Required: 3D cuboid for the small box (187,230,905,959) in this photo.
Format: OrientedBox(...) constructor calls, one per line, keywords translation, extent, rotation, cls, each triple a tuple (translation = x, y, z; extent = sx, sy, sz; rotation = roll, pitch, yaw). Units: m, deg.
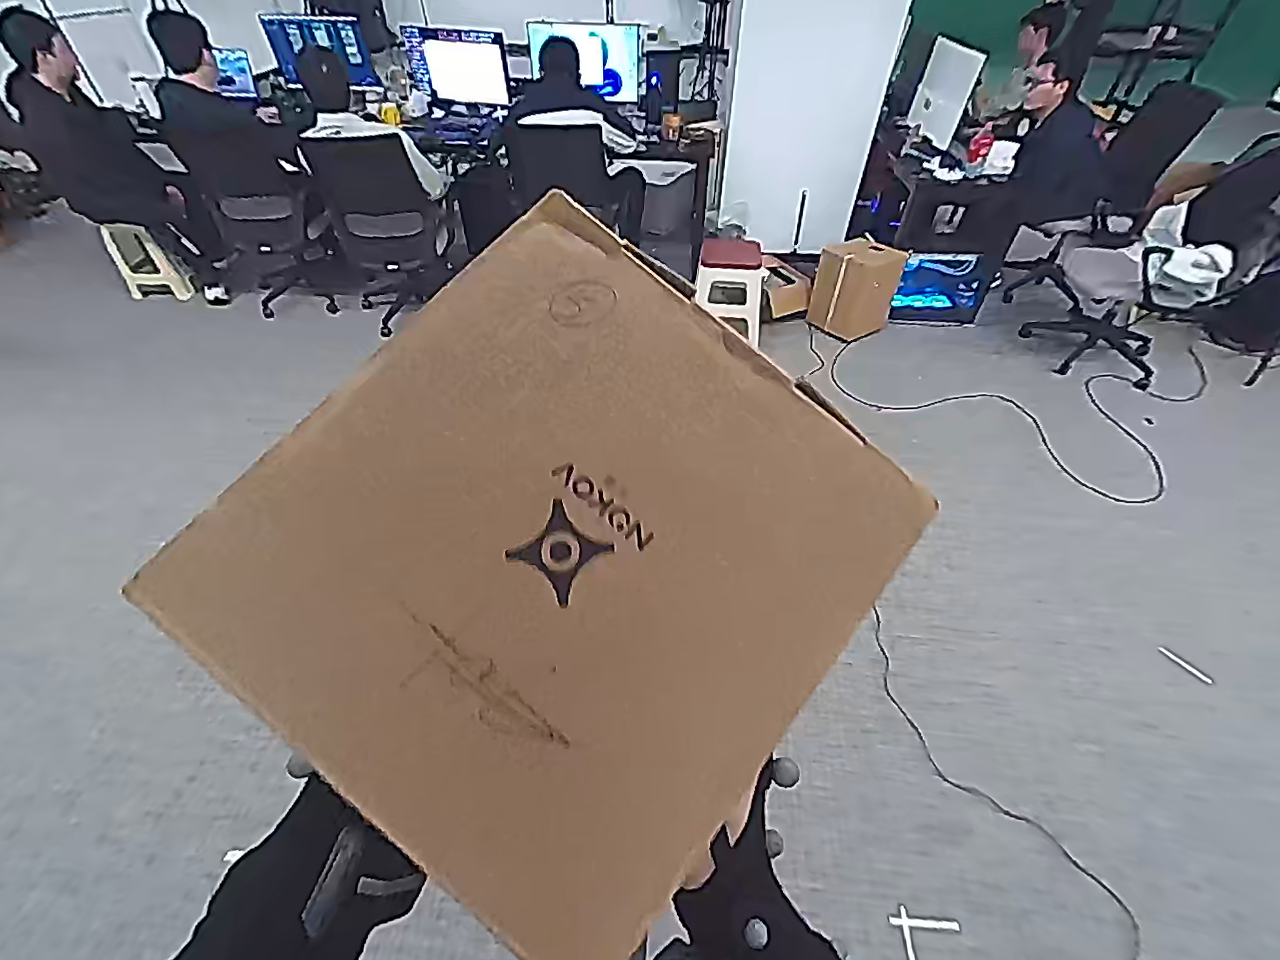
OrientedBox(translation=(-0.029, 0.038, 0.252), extent=(0.168, 0.176, 0.179), rotation=(39, 77, 5), cls="small box")
